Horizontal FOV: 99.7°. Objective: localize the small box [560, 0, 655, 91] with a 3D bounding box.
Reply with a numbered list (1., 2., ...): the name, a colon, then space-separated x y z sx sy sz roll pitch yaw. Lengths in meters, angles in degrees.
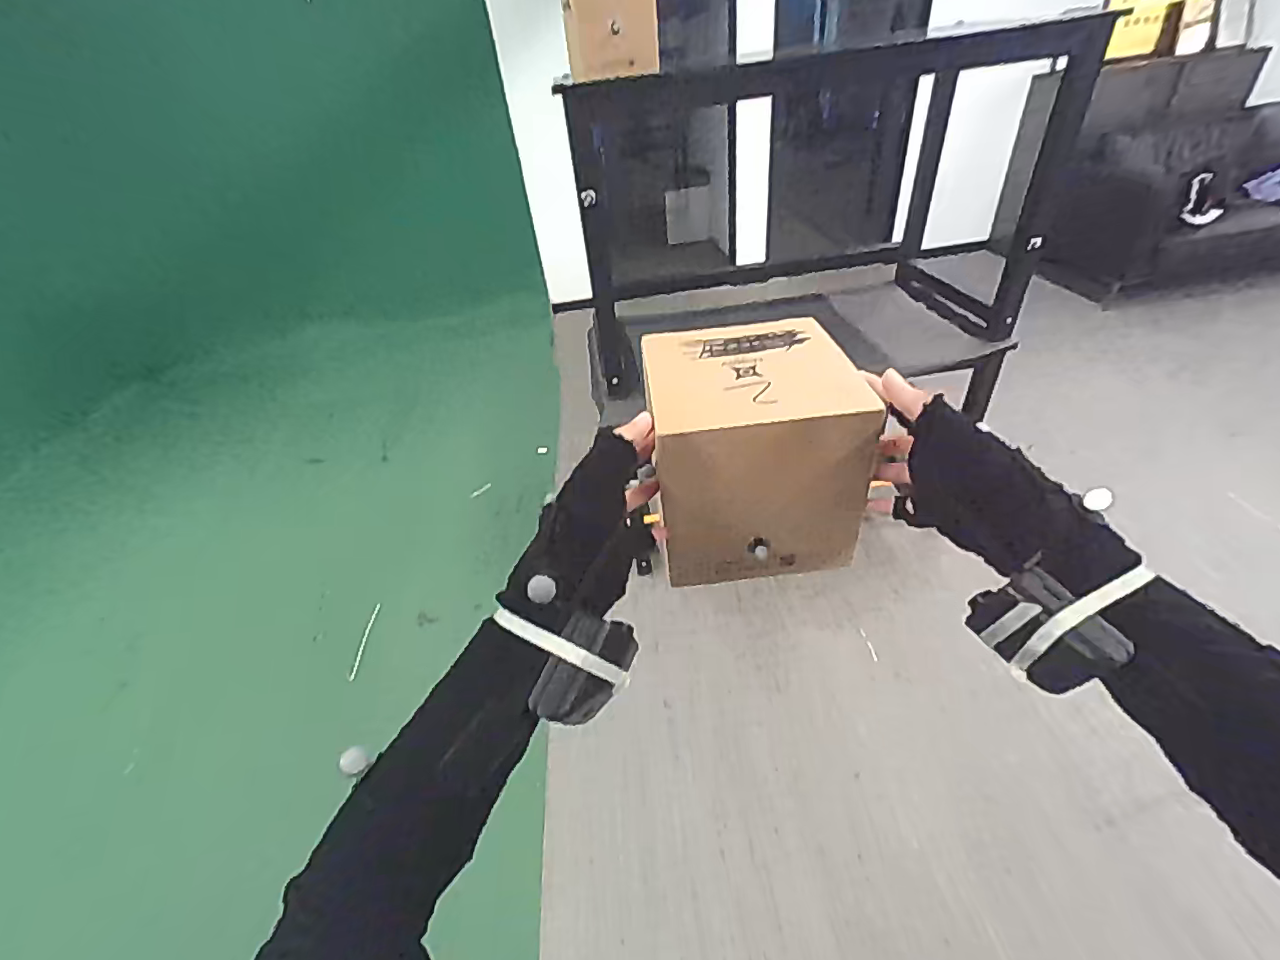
1. small box: -0.069 -0.954 1.168 0.168 0.176 0.179 -12 38 -8
